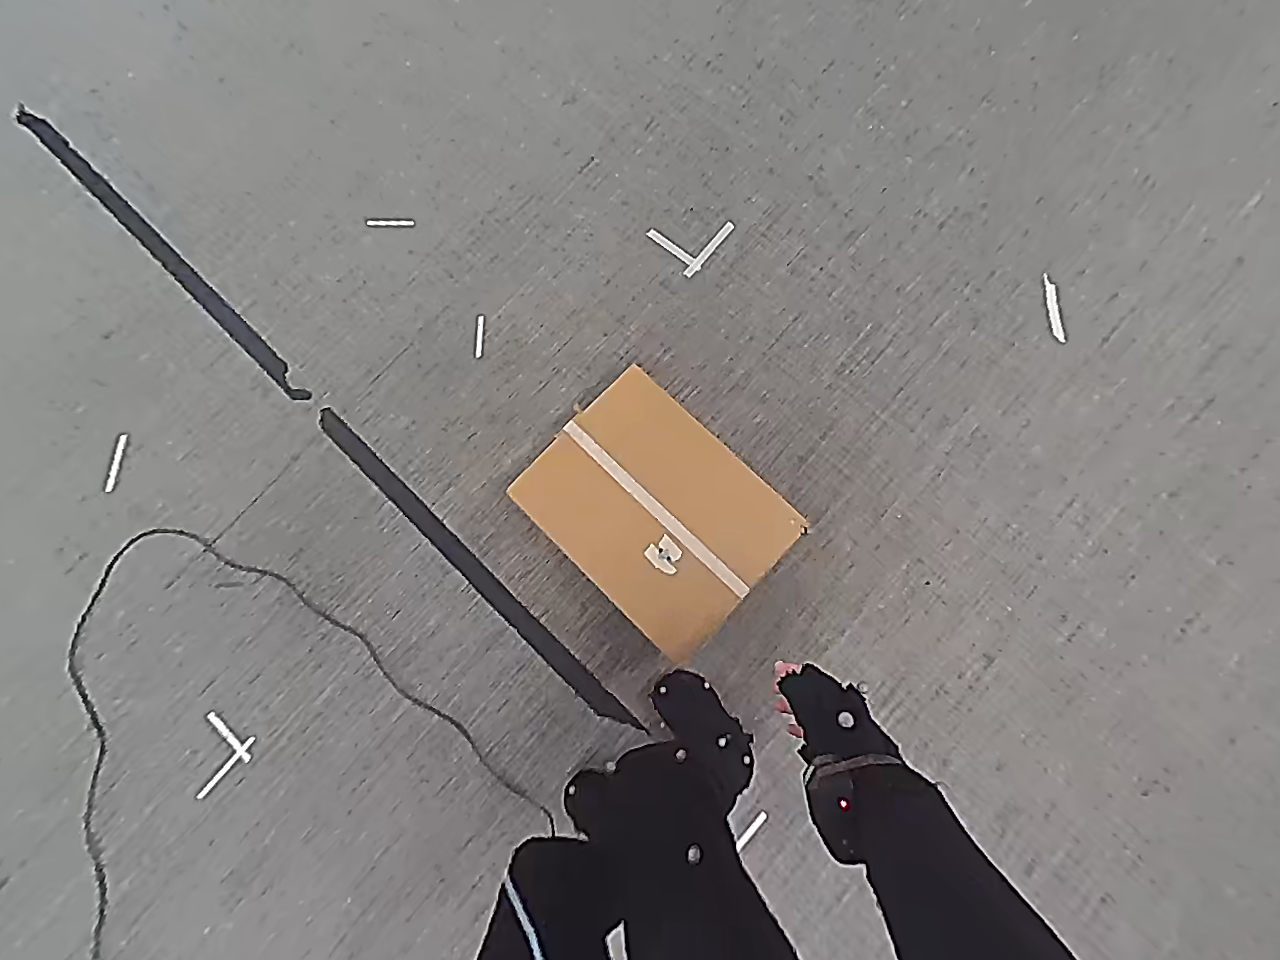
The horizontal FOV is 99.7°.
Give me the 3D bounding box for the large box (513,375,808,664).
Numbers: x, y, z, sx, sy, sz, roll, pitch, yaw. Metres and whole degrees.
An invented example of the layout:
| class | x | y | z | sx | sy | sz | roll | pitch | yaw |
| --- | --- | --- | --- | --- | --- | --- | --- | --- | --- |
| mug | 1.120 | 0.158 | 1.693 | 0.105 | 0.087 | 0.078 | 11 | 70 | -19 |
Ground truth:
| class | x | y | z | sx | sy | sz | roll | pitch | yaw |
| --- | --- | --- | --- | --- | --- | --- | --- | --- | --- |
| large box | 0.034 | 0.079 | 1.041 | 0.408 | 0.320 | 0.320 | 44 | 85 | 9 |
